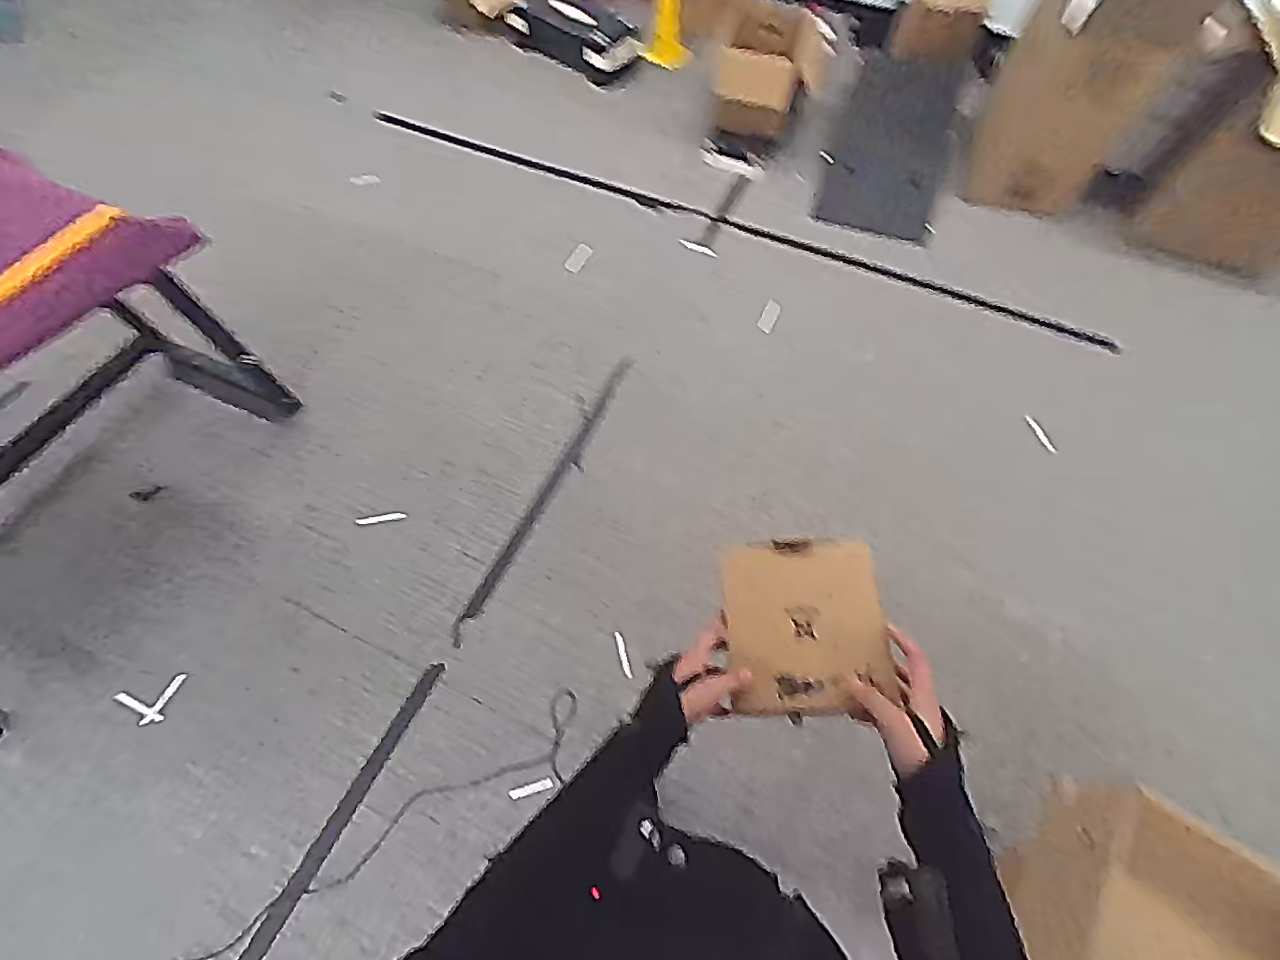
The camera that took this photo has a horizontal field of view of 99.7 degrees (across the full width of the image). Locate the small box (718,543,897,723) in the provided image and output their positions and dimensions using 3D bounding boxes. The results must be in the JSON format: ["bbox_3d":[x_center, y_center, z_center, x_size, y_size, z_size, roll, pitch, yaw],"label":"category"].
[{"bbox_3d":[0.178,0.186,0.637,0.168,0.176,0.179,-4,64,7],"label":"small box"}]
